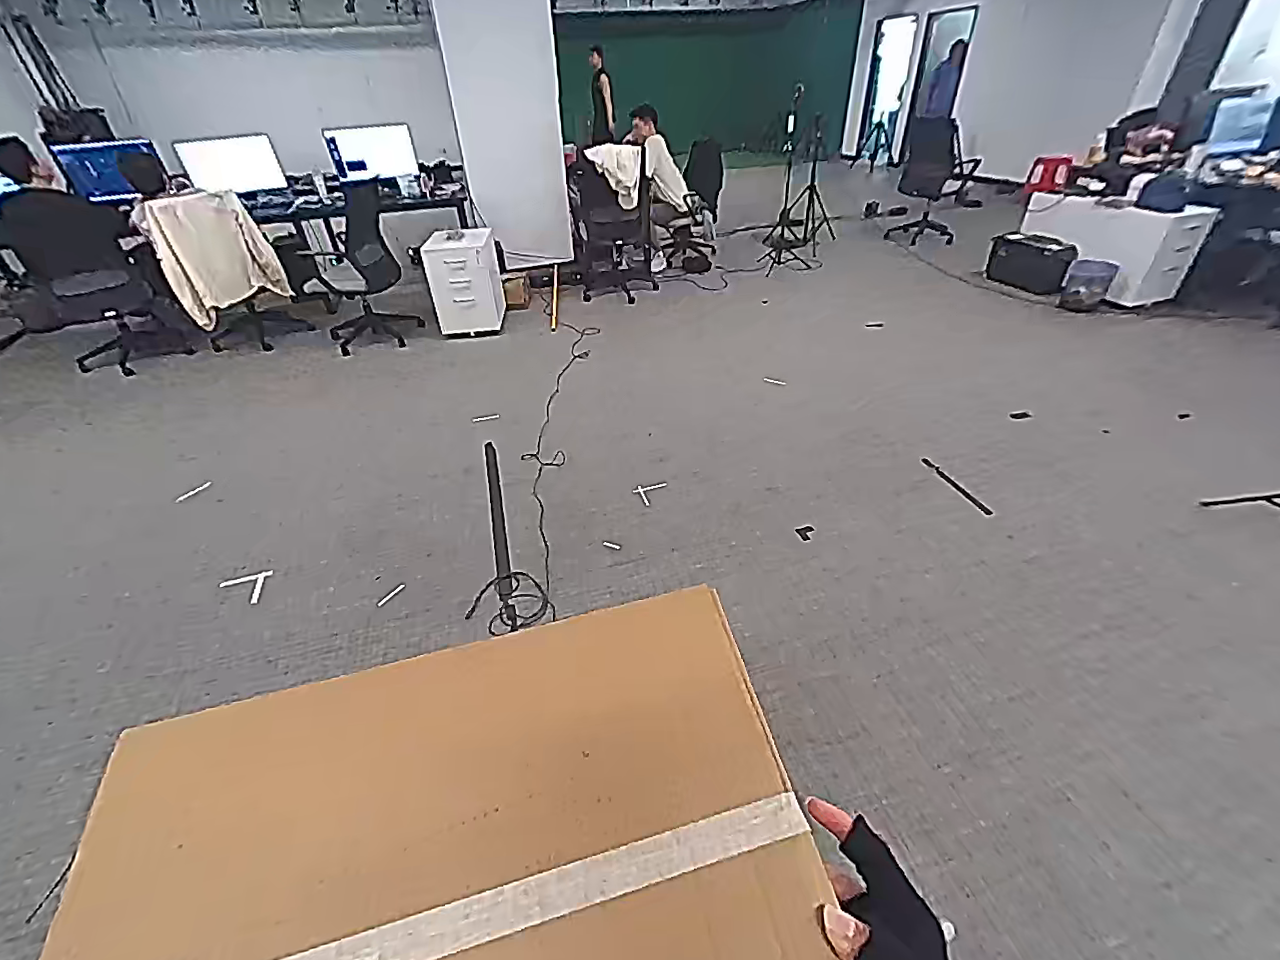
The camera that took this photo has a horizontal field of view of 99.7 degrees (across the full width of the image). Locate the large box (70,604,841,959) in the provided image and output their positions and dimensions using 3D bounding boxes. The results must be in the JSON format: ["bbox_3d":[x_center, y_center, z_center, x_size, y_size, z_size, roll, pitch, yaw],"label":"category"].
[{"bbox_3d":[-0.097,0.343,0.406,0.408,0.320,0.320,-12,50,-8],"label":"large box"}]
